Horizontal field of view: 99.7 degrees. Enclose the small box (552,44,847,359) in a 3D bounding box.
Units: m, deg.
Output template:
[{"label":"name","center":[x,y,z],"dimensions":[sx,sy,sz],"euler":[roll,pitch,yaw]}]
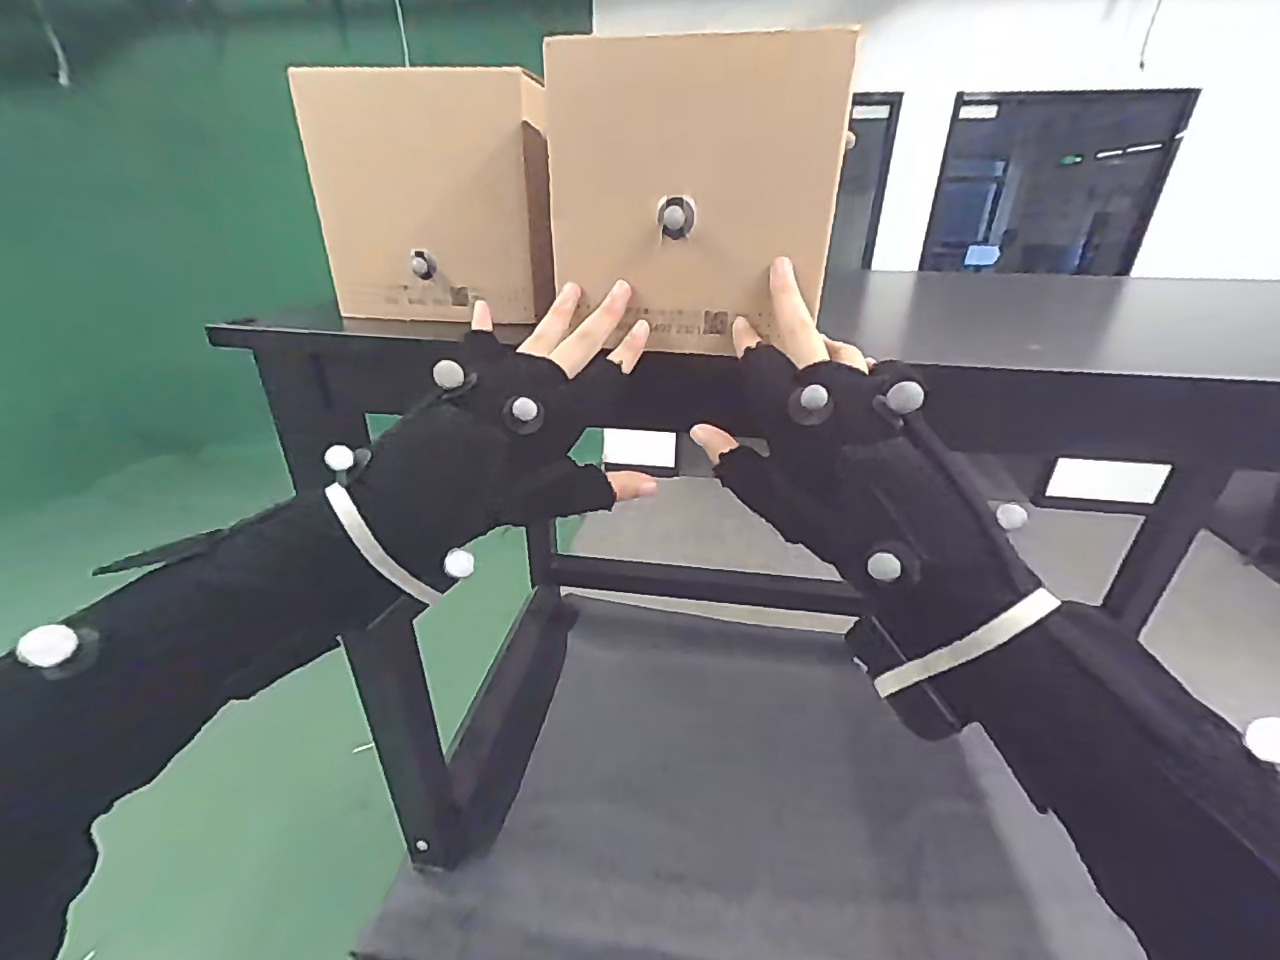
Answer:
[{"label":"small box","center":[0.045,-0.192,0.401],"dimensions":[0.168,0.176,0.179],"euler":[6,26,9]}]
